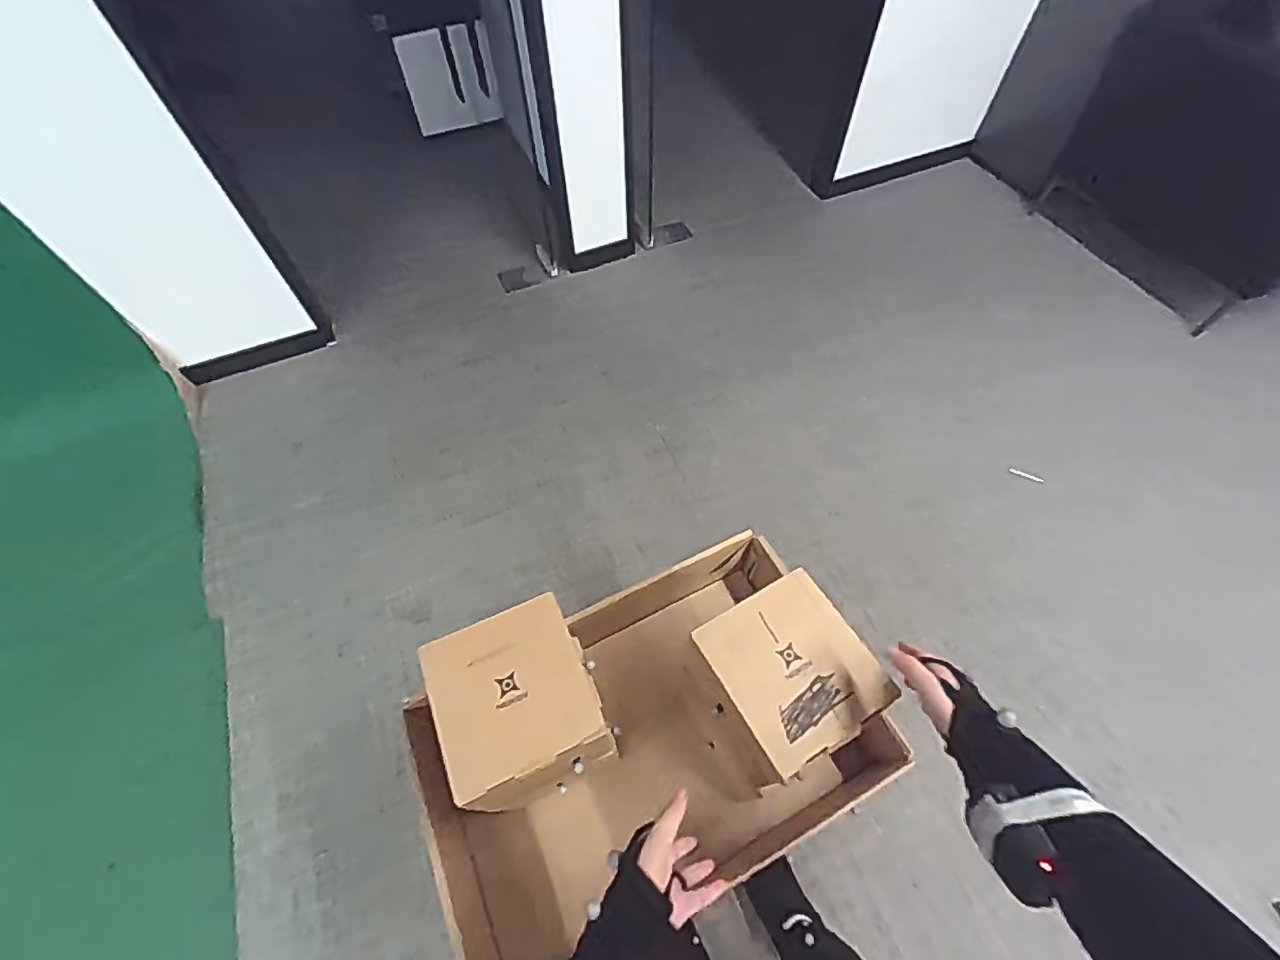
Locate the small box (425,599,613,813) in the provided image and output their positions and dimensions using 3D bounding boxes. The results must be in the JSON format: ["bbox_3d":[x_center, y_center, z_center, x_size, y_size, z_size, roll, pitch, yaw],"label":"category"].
[{"bbox_3d":[-0.138,0.278,0.660,0.168,0.176,0.179,-20,59,-13],"label":"small box"}]

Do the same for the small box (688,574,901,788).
[{"bbox_3d":[0.173,0.253,0.669,0.168,0.176,0.179,-26,60,-15],"label":"small box"}]
